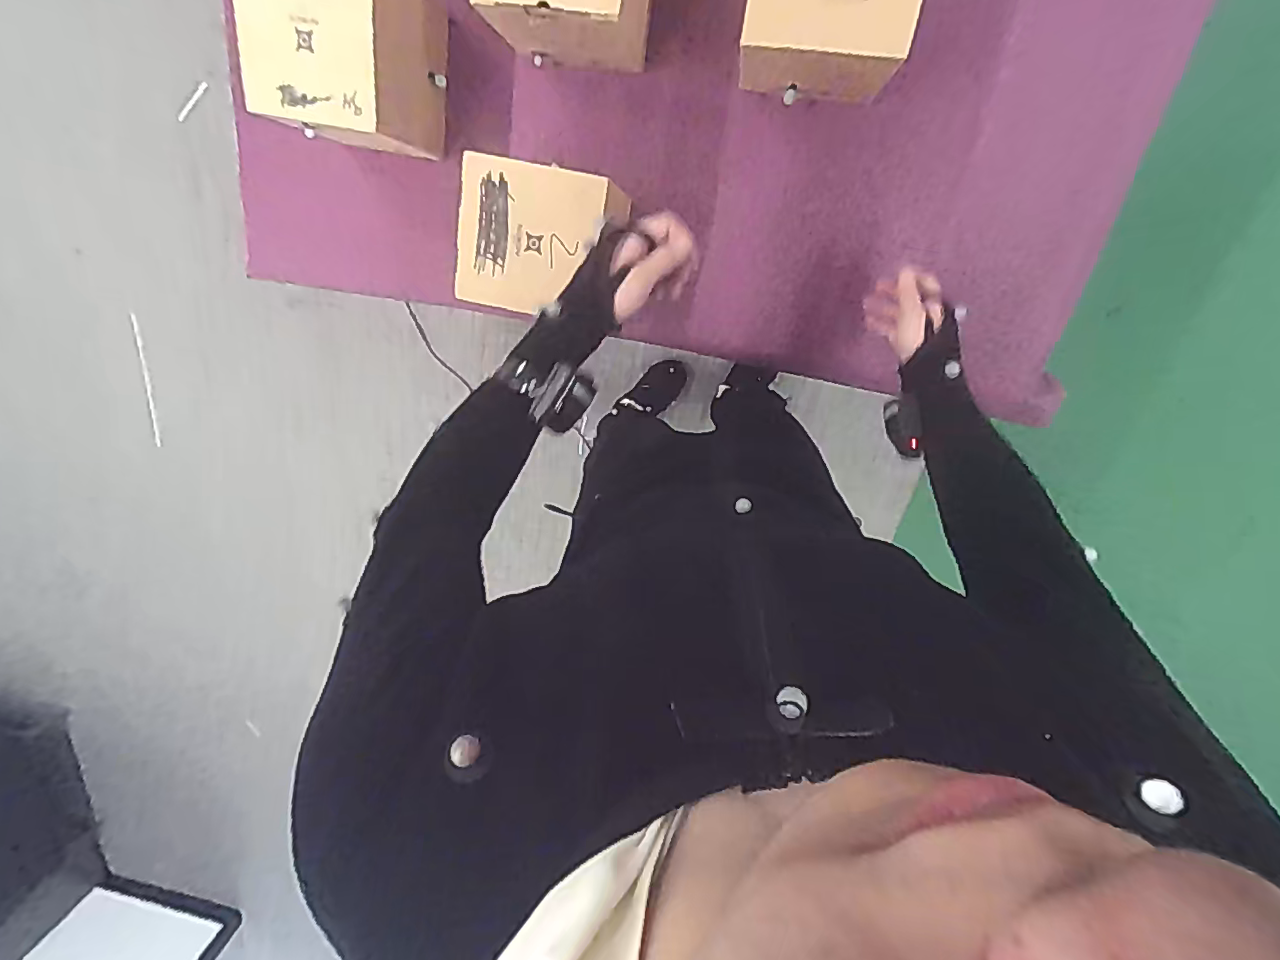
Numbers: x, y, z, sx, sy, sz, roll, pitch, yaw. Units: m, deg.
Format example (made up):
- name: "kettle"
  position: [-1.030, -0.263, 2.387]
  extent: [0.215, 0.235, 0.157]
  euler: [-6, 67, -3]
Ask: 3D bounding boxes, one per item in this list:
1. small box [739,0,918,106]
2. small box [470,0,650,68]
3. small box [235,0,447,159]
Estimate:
- name: "small box"
  position: [0.202, -0.534, 0.578]
  extent: [0.168, 0.176, 0.179]
  euler: [11, 113, 6]
- name: "small box"
  position: [-0.076, -0.593, 0.600]
  extent: [0.168, 0.176, 0.179]
  euler: [11, 112, 5]
- name: "small box"
  position: [-0.355, -0.524, 0.669]
  extent: [0.168, 0.176, 0.179]
  euler: [13, 112, 6]
